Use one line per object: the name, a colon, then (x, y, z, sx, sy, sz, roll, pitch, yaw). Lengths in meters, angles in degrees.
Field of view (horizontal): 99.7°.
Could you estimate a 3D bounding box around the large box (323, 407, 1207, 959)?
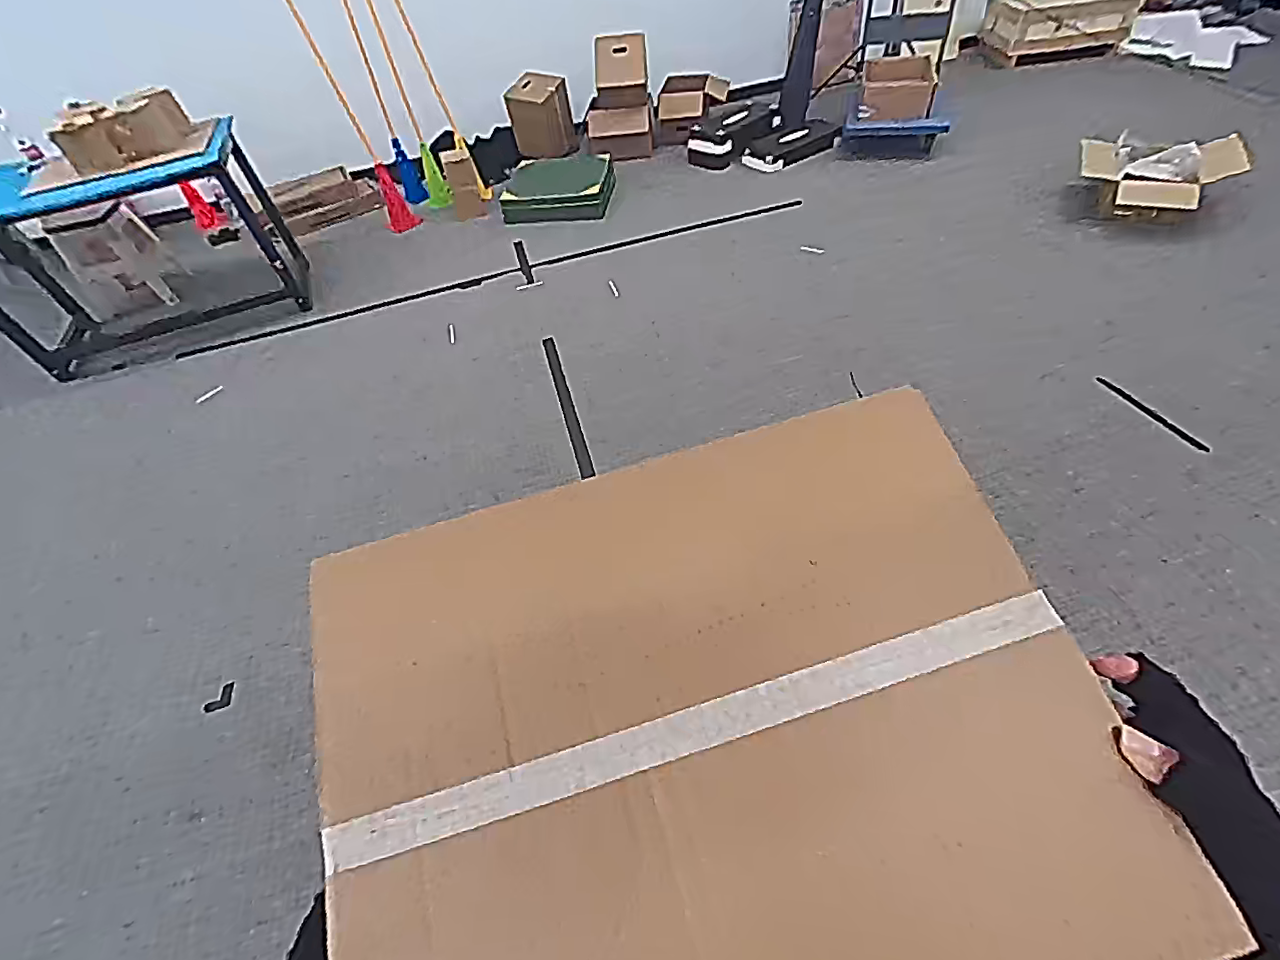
large box: (0.045, 0.198, 0.431, 0.408, 0.320, 0.320, -17, 66, -4)
